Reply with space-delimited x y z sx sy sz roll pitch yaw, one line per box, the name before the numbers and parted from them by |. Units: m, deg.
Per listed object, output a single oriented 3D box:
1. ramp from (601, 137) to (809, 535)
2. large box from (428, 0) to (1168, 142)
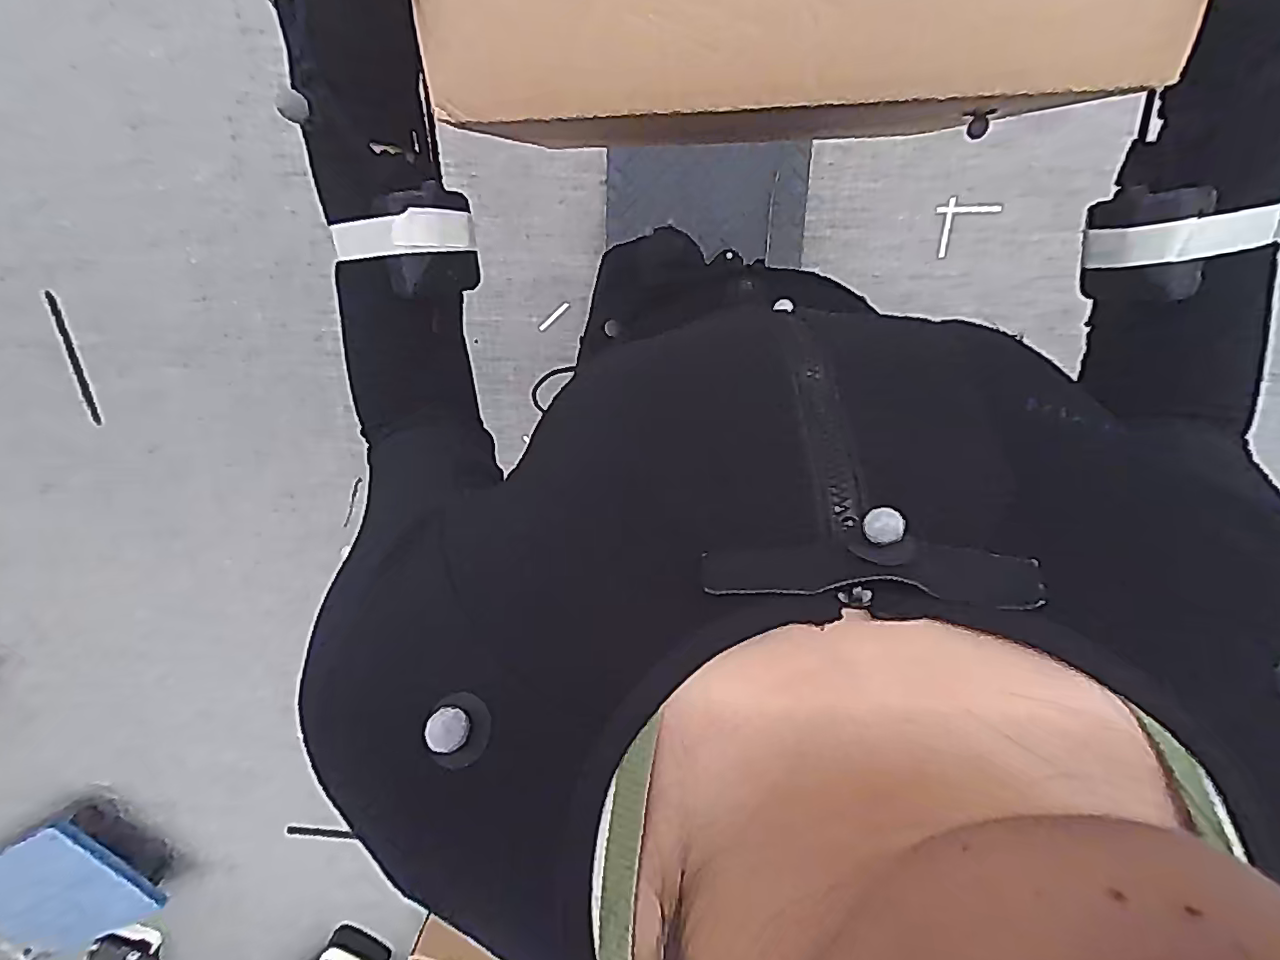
ramp | 0.147 -0.344 1.412 0.509 0.206 0.991 2 112 4
large box | 0.084 -0.426 0.367 0.408 0.320 0.320 -1 119 4
